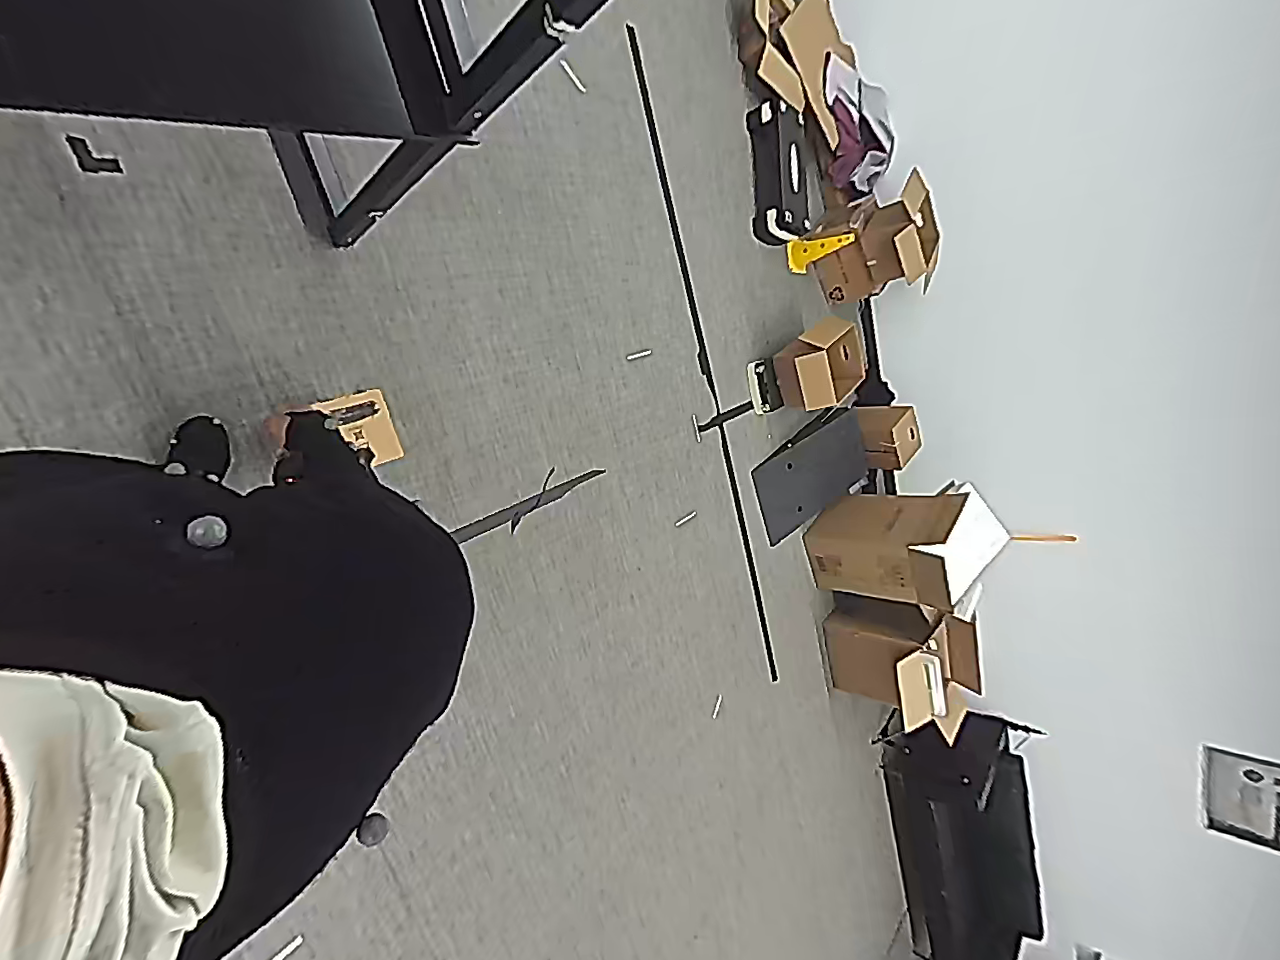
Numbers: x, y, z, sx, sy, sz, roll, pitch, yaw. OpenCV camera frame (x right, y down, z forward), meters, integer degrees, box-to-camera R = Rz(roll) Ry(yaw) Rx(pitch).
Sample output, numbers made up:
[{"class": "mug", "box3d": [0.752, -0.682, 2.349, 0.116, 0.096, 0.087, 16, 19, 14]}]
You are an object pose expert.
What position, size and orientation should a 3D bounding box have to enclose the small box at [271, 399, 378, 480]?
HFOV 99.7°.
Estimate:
[{"class": "small box", "box3d": [-0.830, -0.108, 1.422, 0.179, 0.176, 0.168, -29, 110, -40]}]
